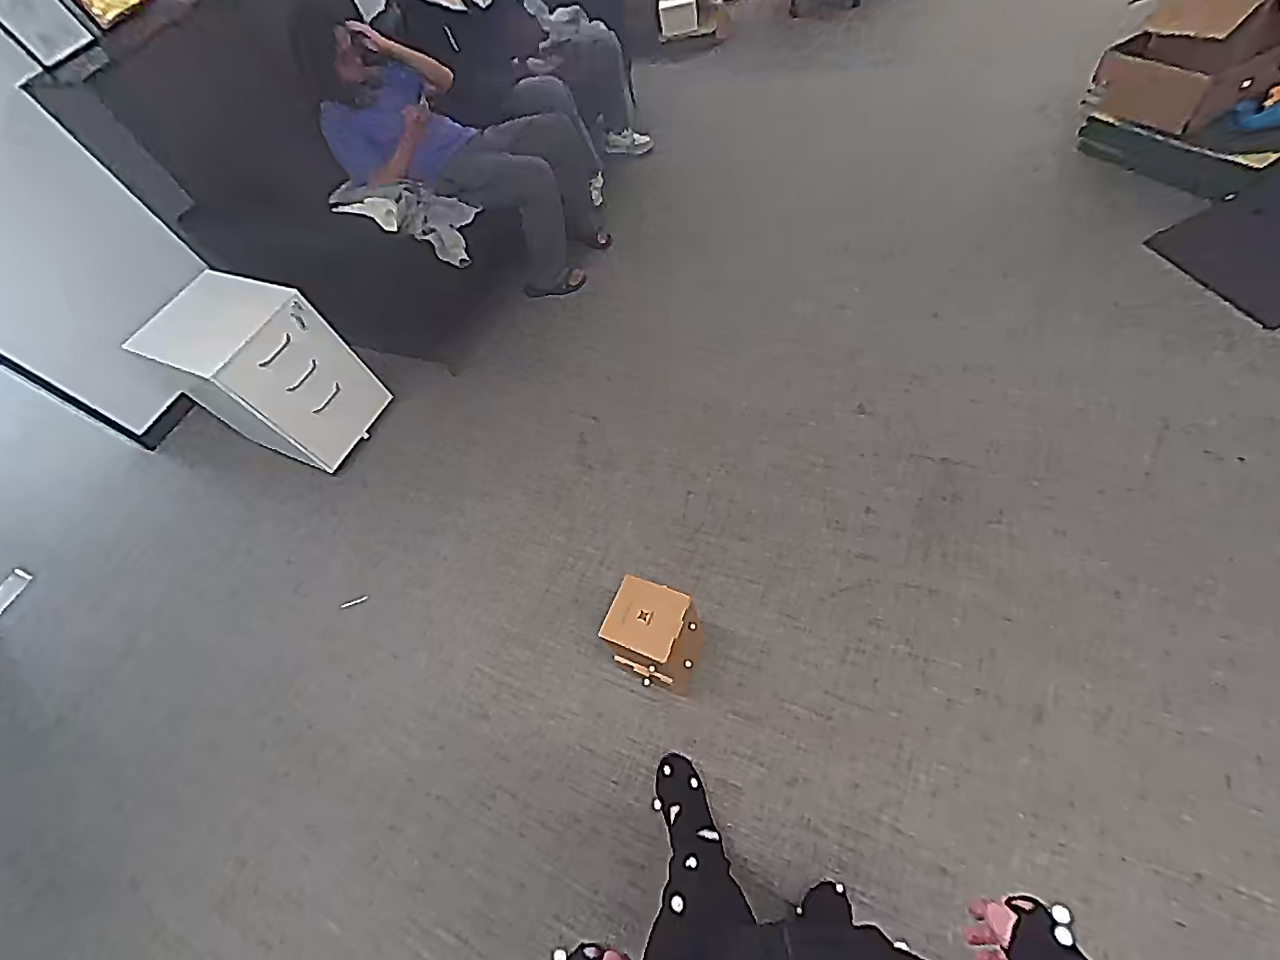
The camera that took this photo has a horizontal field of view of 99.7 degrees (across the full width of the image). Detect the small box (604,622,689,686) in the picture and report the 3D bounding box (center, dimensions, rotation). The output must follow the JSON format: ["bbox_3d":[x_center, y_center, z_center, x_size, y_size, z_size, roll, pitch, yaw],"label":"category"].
[{"bbox_3d":[0.026,0.439,1.469,0.168,0.176,0.179,15,63,21],"label":"small box"}]

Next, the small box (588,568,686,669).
[{"bbox_3d":[0.003,0.343,1.316,0.179,0.176,0.168,16,62,21],"label":"small box"}]
